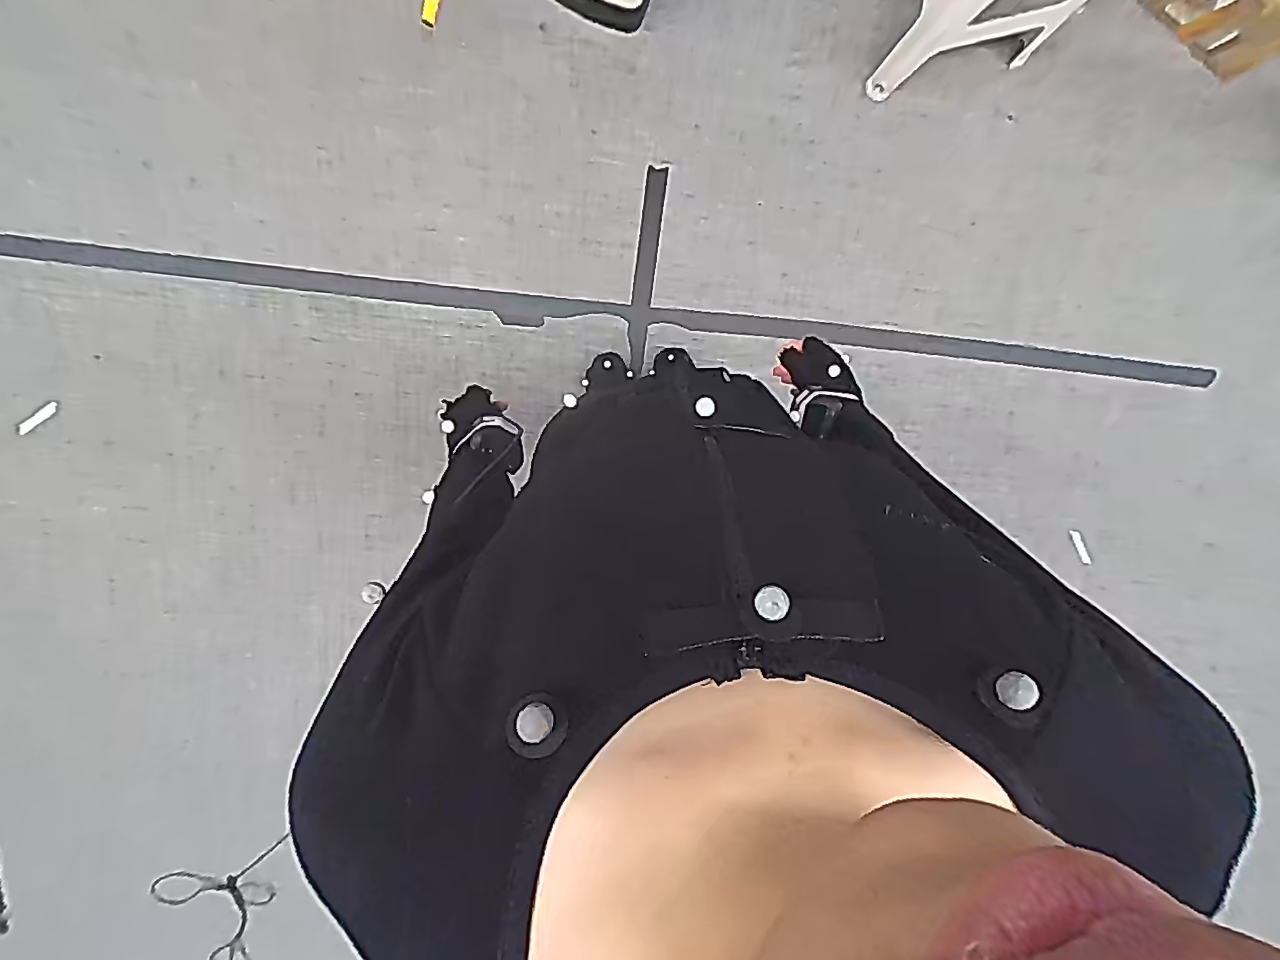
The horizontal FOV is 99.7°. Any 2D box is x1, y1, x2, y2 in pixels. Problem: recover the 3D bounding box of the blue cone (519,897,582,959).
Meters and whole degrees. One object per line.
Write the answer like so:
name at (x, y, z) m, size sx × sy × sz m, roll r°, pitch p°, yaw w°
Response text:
blue cone at (-0.303, 1.576, 1.725) m, size 0.192 × 0.380 × 0.193 m, roll 22°, pitch 103°, yaw -9°
